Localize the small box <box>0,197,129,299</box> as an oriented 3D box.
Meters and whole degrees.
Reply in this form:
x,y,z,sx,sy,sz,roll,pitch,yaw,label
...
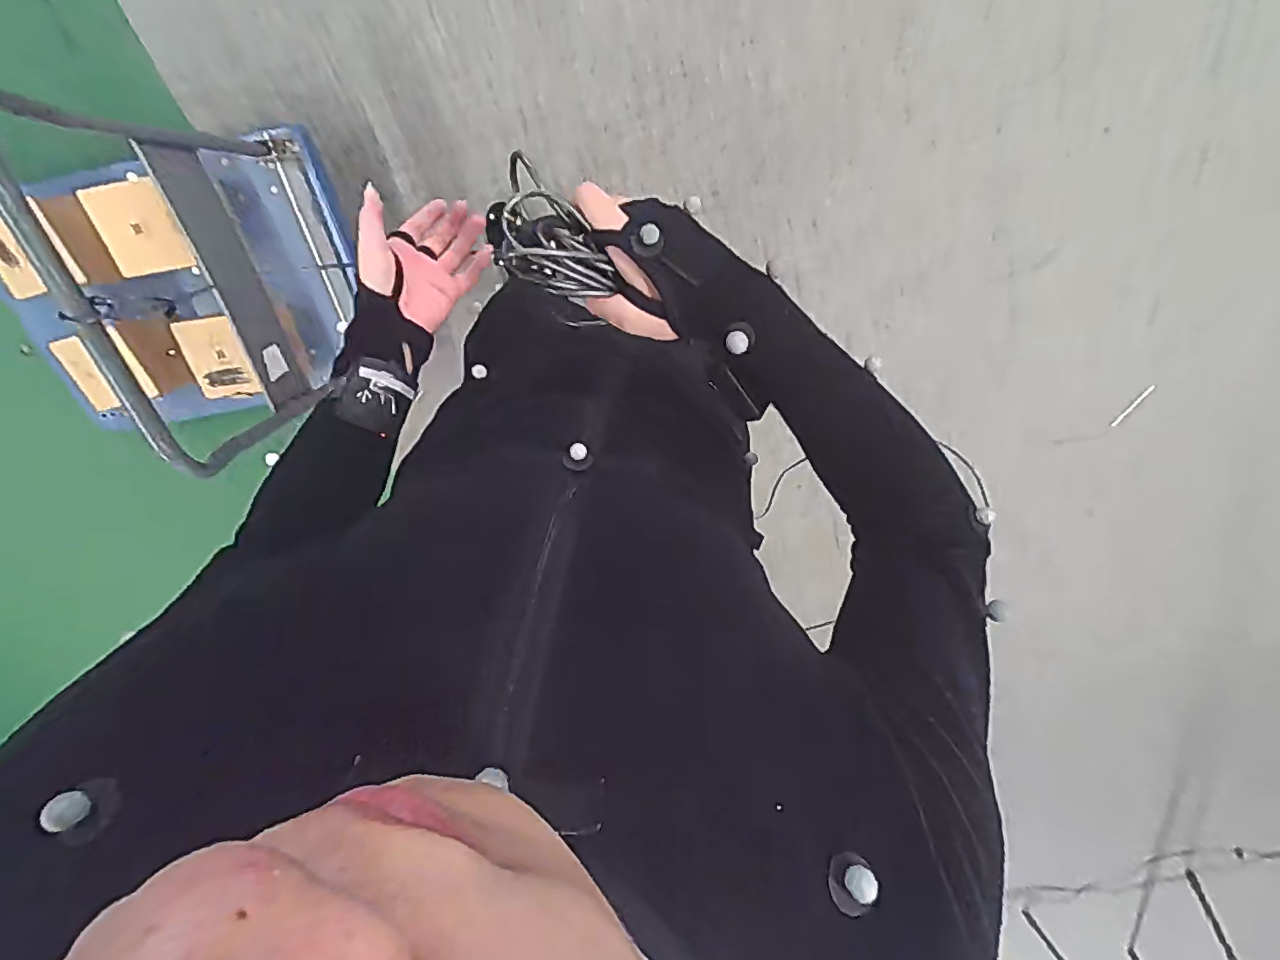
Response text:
x,y,z,sx,sy,sz,roll,pitch,yaw,label
-1.263,-0.502,1.166,0.179,0.176,0.168,-11,118,5,small box

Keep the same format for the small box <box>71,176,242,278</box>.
x,y,z,sx,sy,sz,roll,pitch,yaw,label
-1.009,-0.535,1.148,0.179,0.176,0.168,-8,117,4,small box

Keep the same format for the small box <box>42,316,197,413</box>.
x,y,z,sx,sy,sz,roll,pitch,yaw,label
-1.212,-0.279,1.283,0.179,0.176,0.168,-12,116,7,small box
